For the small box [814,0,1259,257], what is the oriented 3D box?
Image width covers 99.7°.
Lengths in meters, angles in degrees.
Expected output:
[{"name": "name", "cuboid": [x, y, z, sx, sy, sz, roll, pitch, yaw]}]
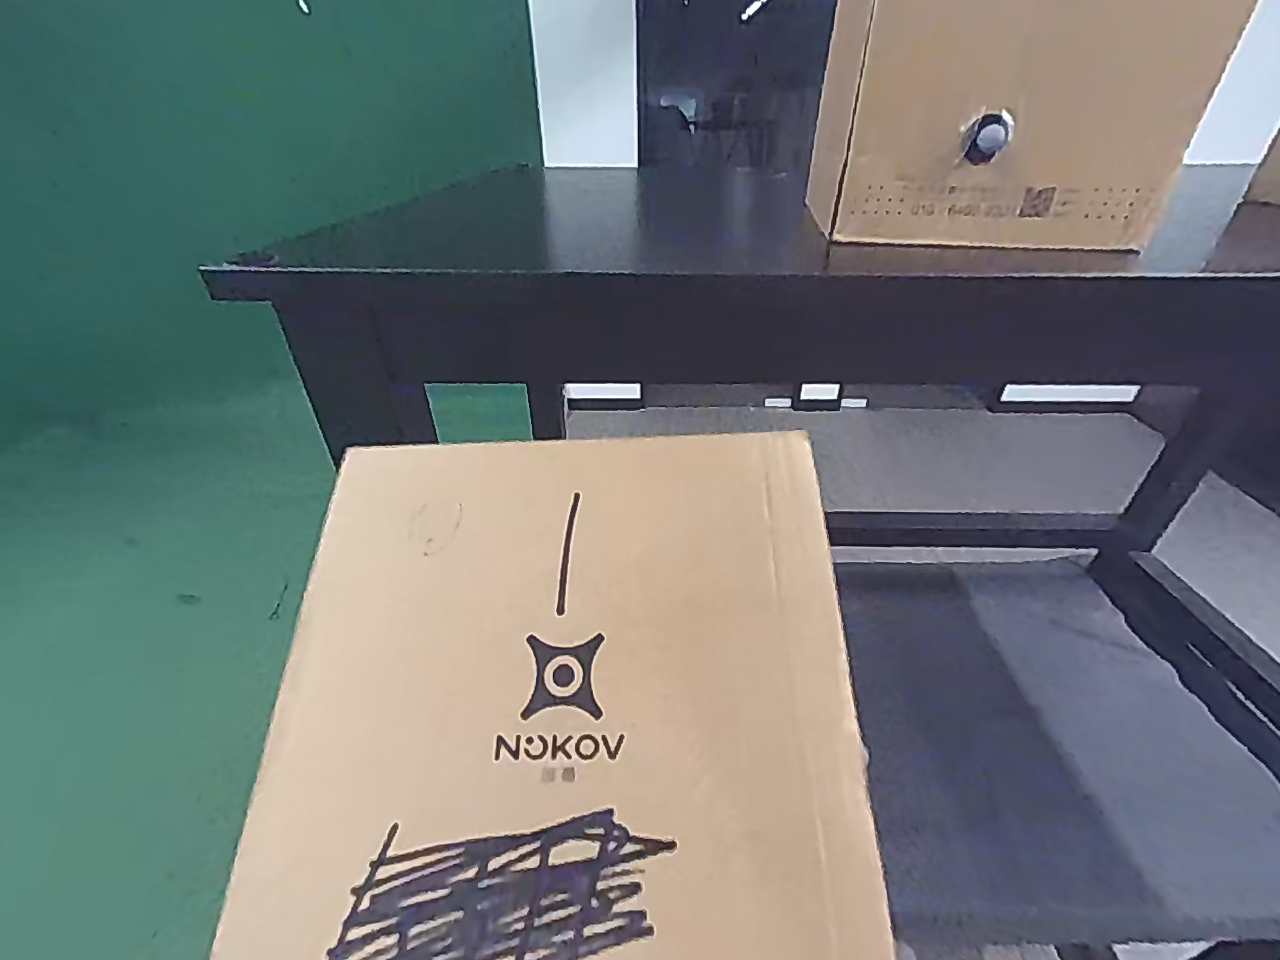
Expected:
[{"name": "small box", "cuboid": [0.212, -0.248, 0.336, 0.168, 0.176, 0.179, 6, 35, 8]}]
